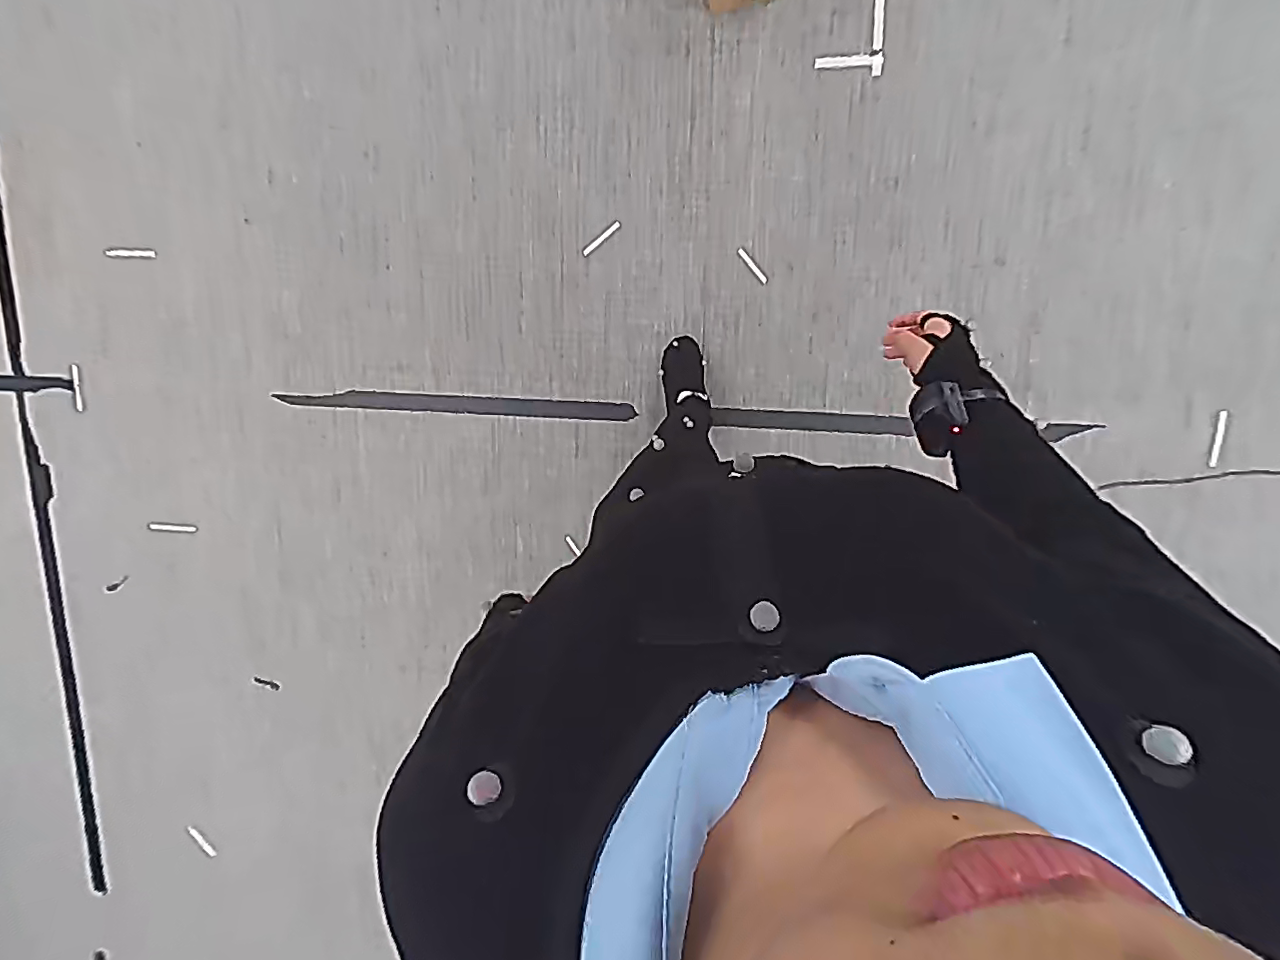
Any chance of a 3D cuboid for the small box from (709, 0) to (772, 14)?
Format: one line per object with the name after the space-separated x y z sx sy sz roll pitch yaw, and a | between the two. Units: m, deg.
0.228 -1.206 1.204 0.168 0.176 0.179 -9 97 8 | small box
